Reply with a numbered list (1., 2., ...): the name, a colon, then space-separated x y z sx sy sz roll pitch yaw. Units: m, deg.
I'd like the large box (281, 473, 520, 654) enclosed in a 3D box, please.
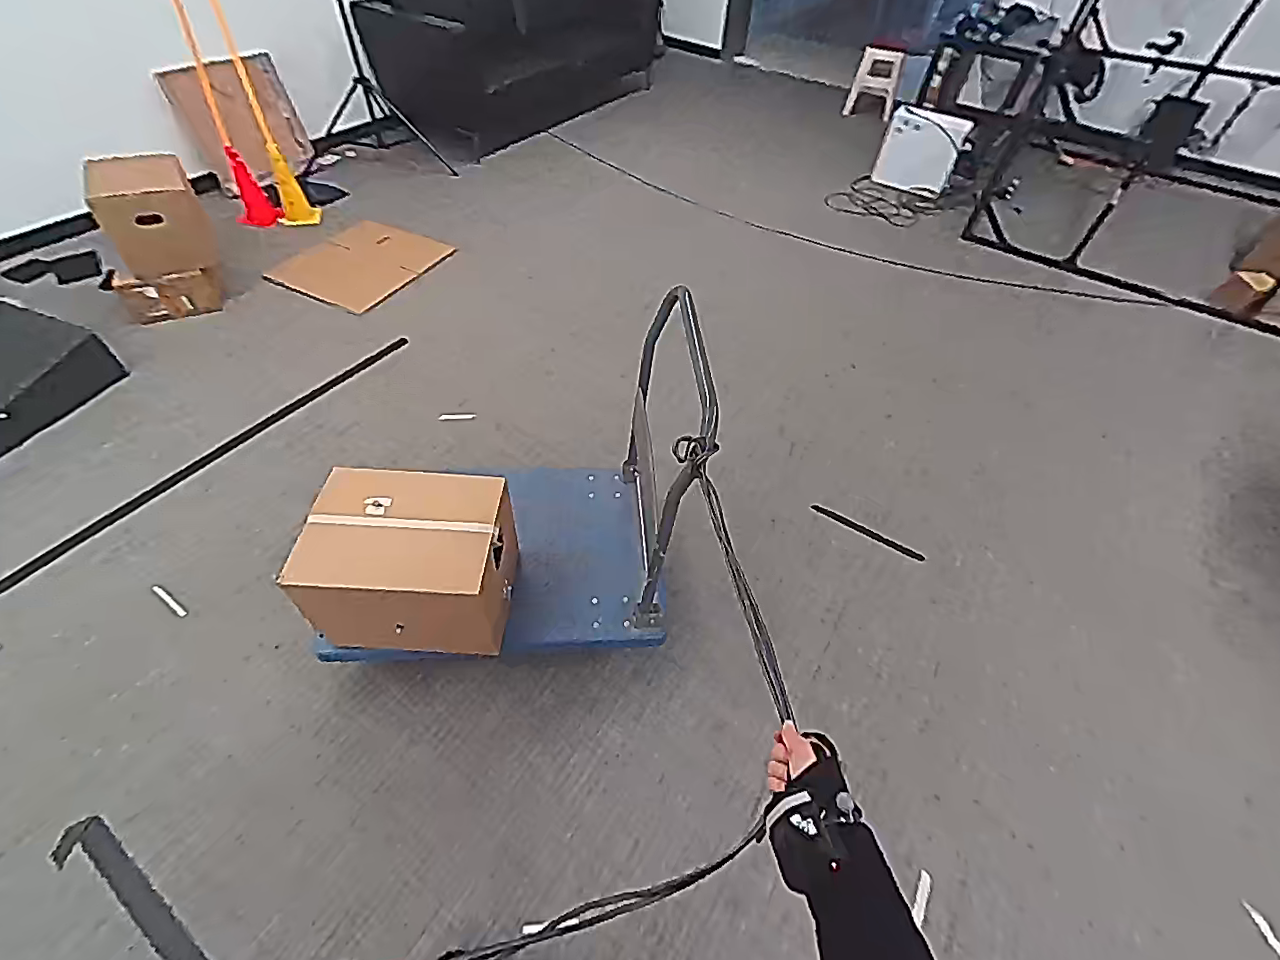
1. large box: -0.519 0.204 1.283 0.408 0.320 0.320 3 49 -2
